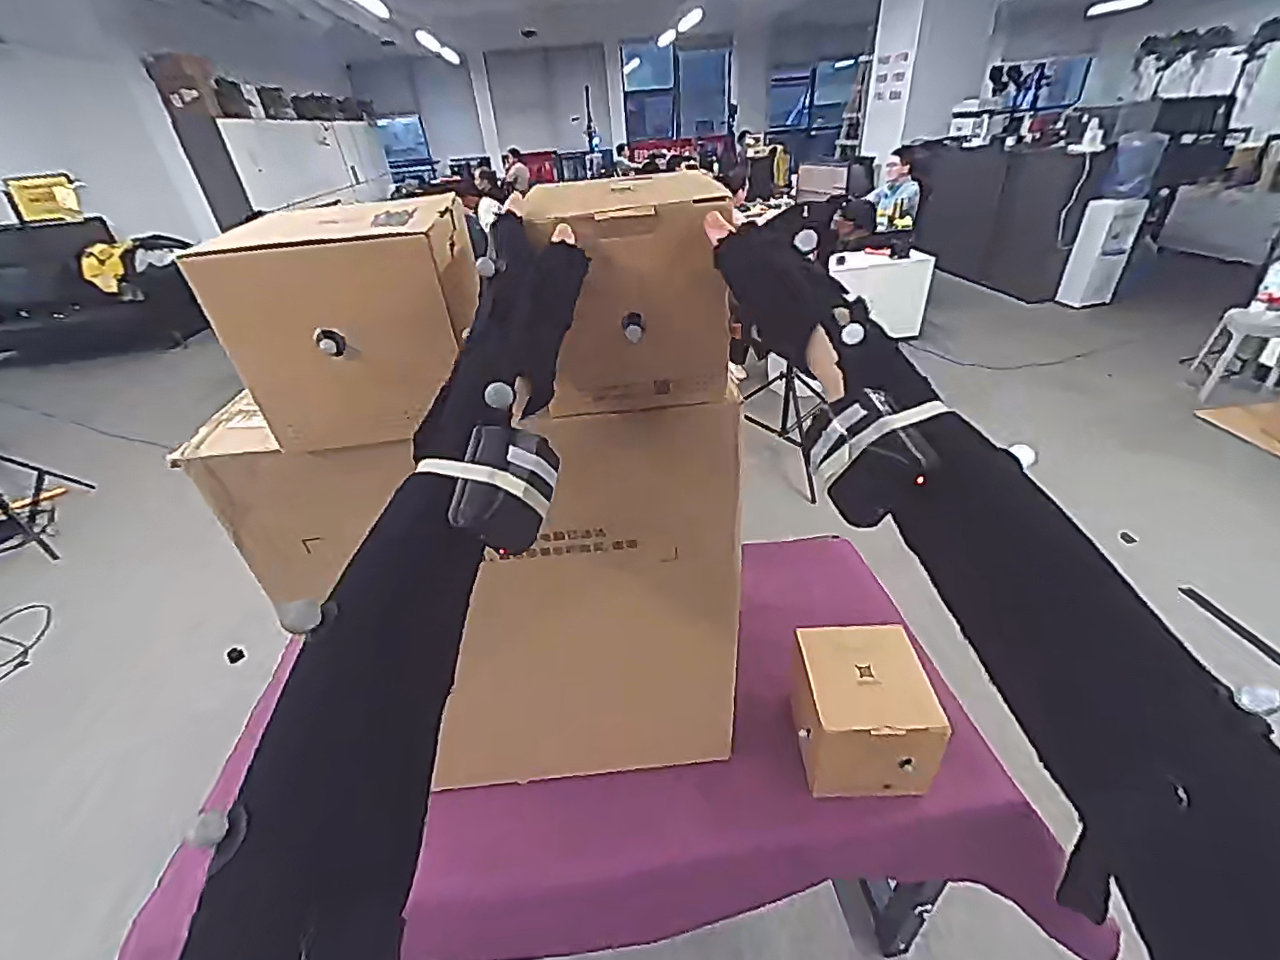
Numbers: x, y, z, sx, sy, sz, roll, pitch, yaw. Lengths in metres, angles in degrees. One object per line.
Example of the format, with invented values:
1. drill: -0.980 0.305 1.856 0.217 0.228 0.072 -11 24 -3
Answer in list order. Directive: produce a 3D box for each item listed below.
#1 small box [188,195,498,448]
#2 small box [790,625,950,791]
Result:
1. small box: -0.237 -0.147 0.495 0.179 0.176 0.168 -8 35 -3
2. small box: 0.329 0.343 0.813 0.168 0.176 0.179 -3 32 3
